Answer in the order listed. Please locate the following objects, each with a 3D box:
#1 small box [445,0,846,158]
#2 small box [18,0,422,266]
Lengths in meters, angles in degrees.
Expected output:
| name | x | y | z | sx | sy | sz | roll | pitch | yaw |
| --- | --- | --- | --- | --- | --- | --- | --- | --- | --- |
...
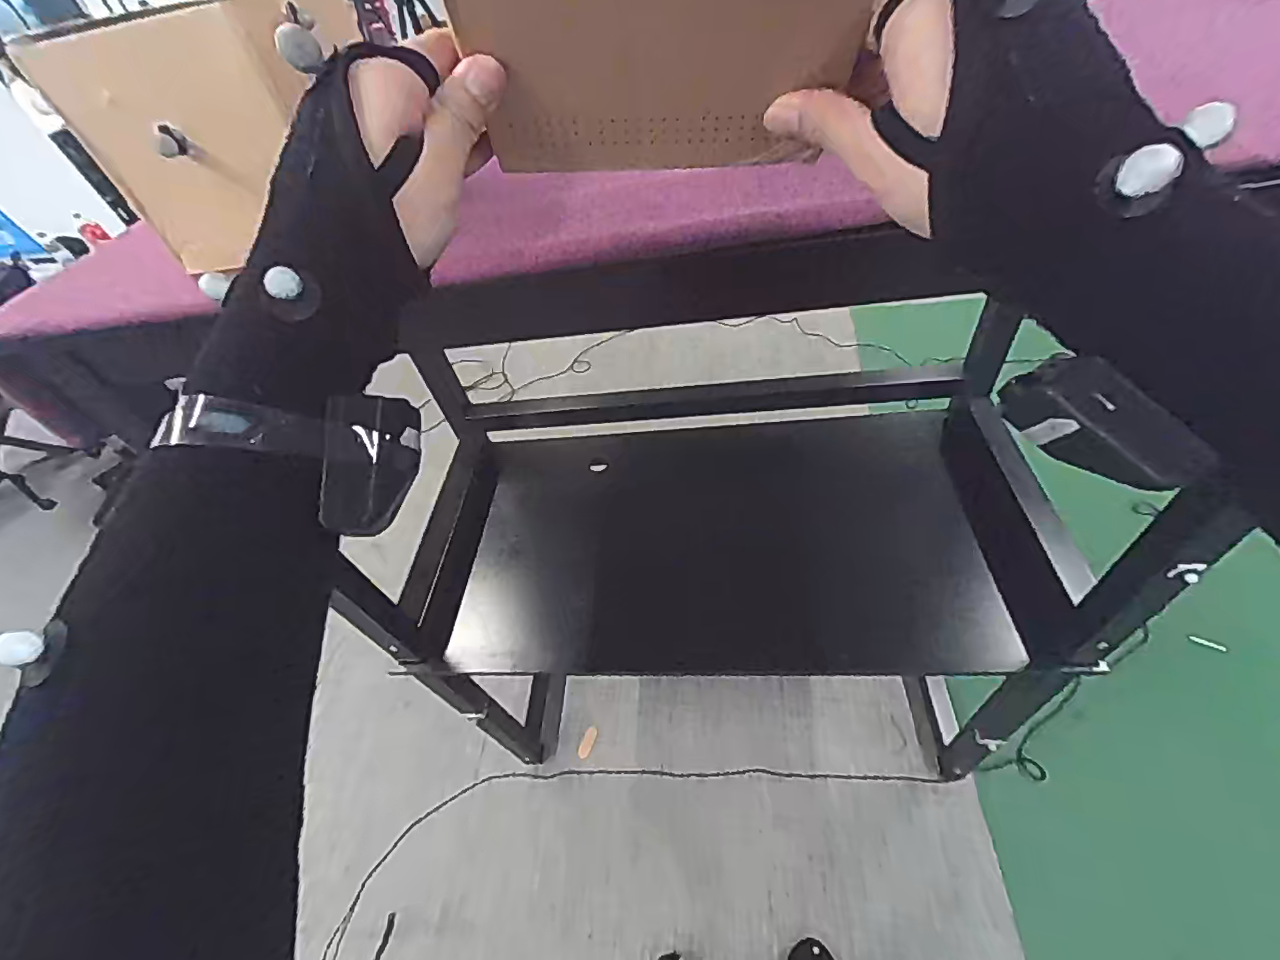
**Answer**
| name | x | y | z | sx | sy | sz | roll | pitch | yaw |
| --- | --- | --- | --- | --- | --- | --- | --- | --- | --- |
| small box | 0.003 | -0.272 | 0.236 | 0.179 | 0.176 | 0.168 | 1 | 76 | 4 |
| small box | -0.327 | -0.305 | 0.469 | 0.179 | 0.176 | 0.168 | -5 | 47 | 9 |
